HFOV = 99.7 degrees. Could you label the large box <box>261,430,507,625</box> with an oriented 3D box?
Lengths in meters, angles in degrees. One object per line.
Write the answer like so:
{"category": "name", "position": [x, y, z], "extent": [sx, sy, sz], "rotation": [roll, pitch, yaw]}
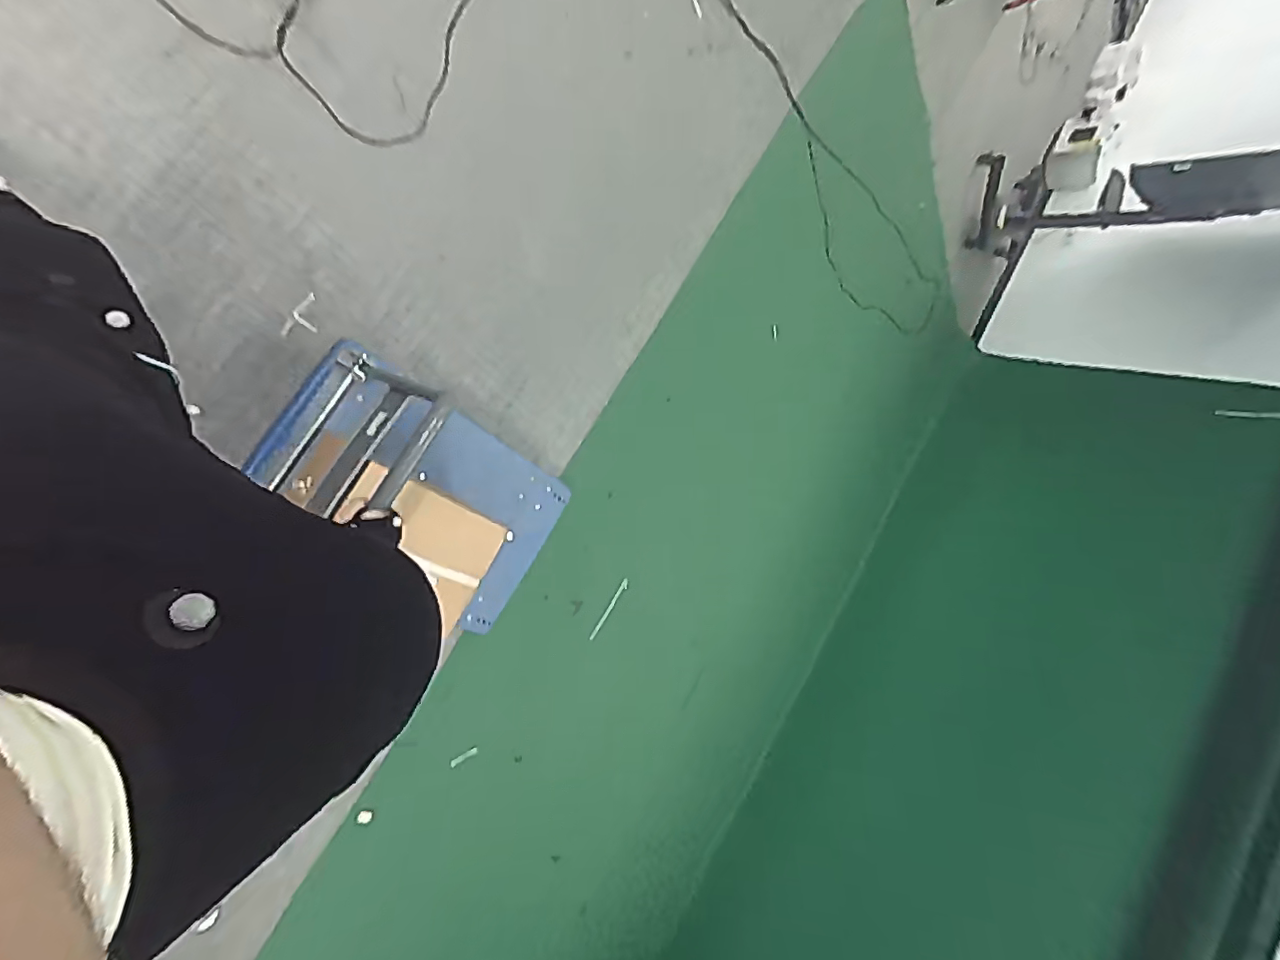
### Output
{"category": "large box", "position": [-0.631, 0.120, 1.352], "extent": [0.408, 0.320, 0.320], "rotation": [38, 79, -46]}
